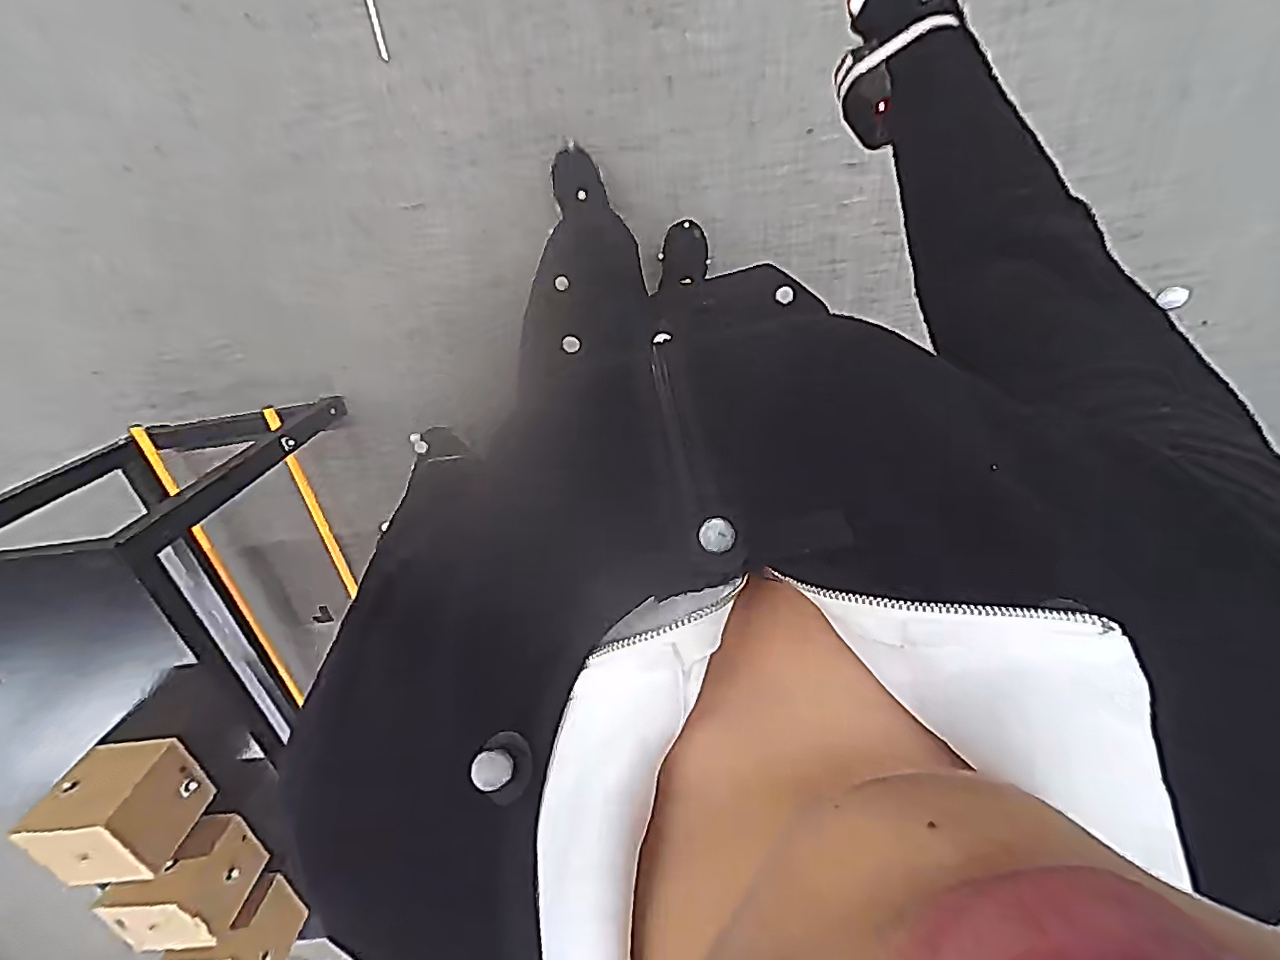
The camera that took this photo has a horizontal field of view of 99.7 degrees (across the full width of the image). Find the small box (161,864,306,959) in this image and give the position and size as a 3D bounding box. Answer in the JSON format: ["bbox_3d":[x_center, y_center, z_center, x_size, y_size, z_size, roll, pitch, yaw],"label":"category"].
[{"bbox_3d":[-0.905,1.011,1.228,0.168,0.176,0.179,-7,117,3],"label":"small box"}]

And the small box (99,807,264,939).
[{"bbox_3d":[-0.926,0.806,1.120,0.179,0.176,0.168,-7,117,3],"label":"small box"}]

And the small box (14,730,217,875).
[{"bbox_3d":[-0.959,0.597,1.010,0.179,0.176,0.168,-8,119,3],"label":"small box"}]
